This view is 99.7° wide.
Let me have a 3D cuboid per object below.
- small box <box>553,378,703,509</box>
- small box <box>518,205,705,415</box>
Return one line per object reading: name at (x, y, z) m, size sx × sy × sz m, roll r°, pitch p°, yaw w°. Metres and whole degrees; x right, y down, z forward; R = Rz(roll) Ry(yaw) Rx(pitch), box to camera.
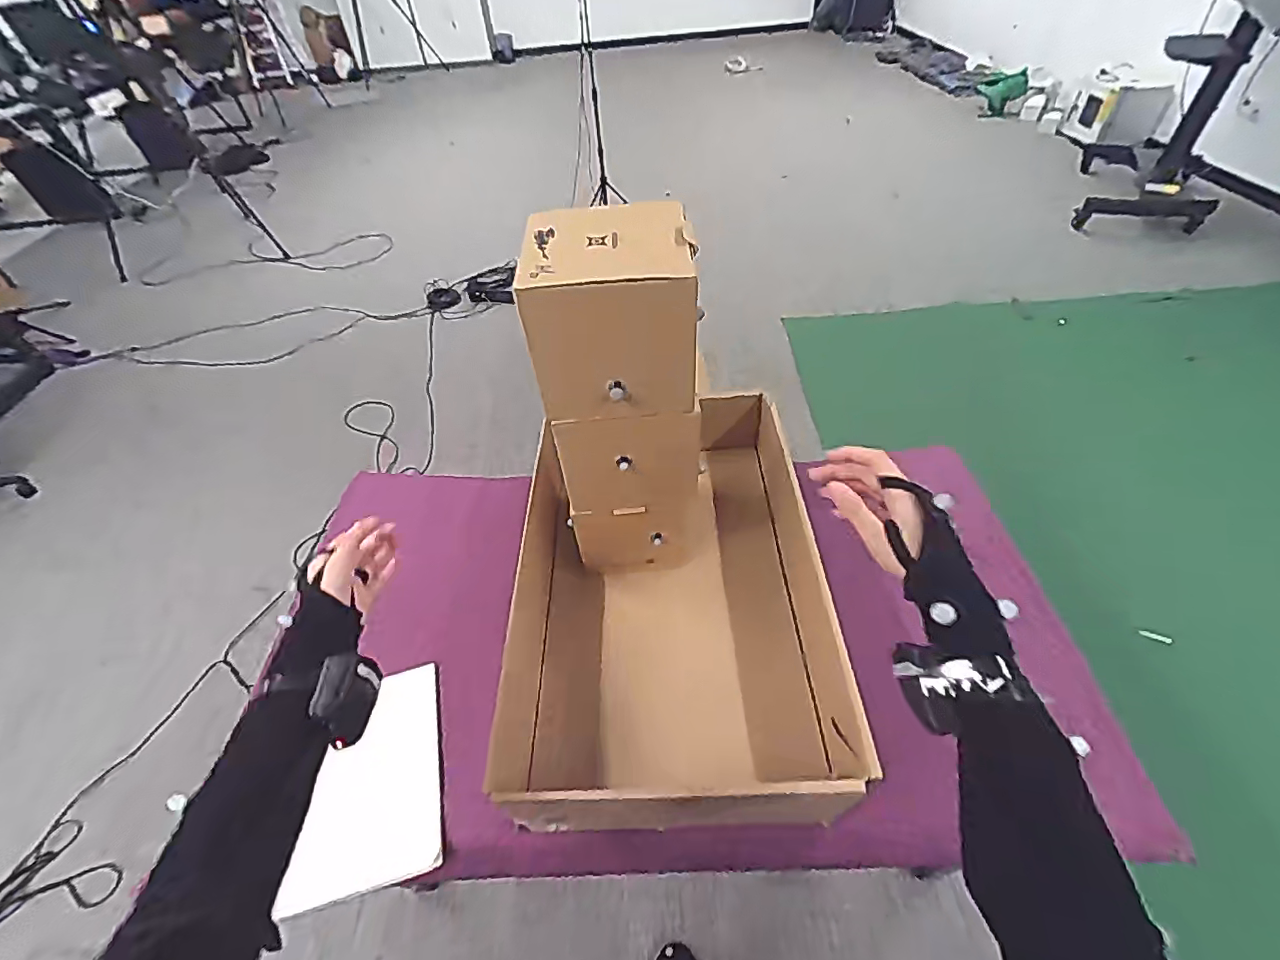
small box at (-0.015, -0.077, 0.731) m, size 0.179 × 0.176 × 0.168 m, roll -5°, pitch 48°, yaw 0°
small box at (-0.026, -0.188, 0.611) m, size 0.179 × 0.176 × 0.168 m, roll -2°, pitch 48°, yaw 1°
